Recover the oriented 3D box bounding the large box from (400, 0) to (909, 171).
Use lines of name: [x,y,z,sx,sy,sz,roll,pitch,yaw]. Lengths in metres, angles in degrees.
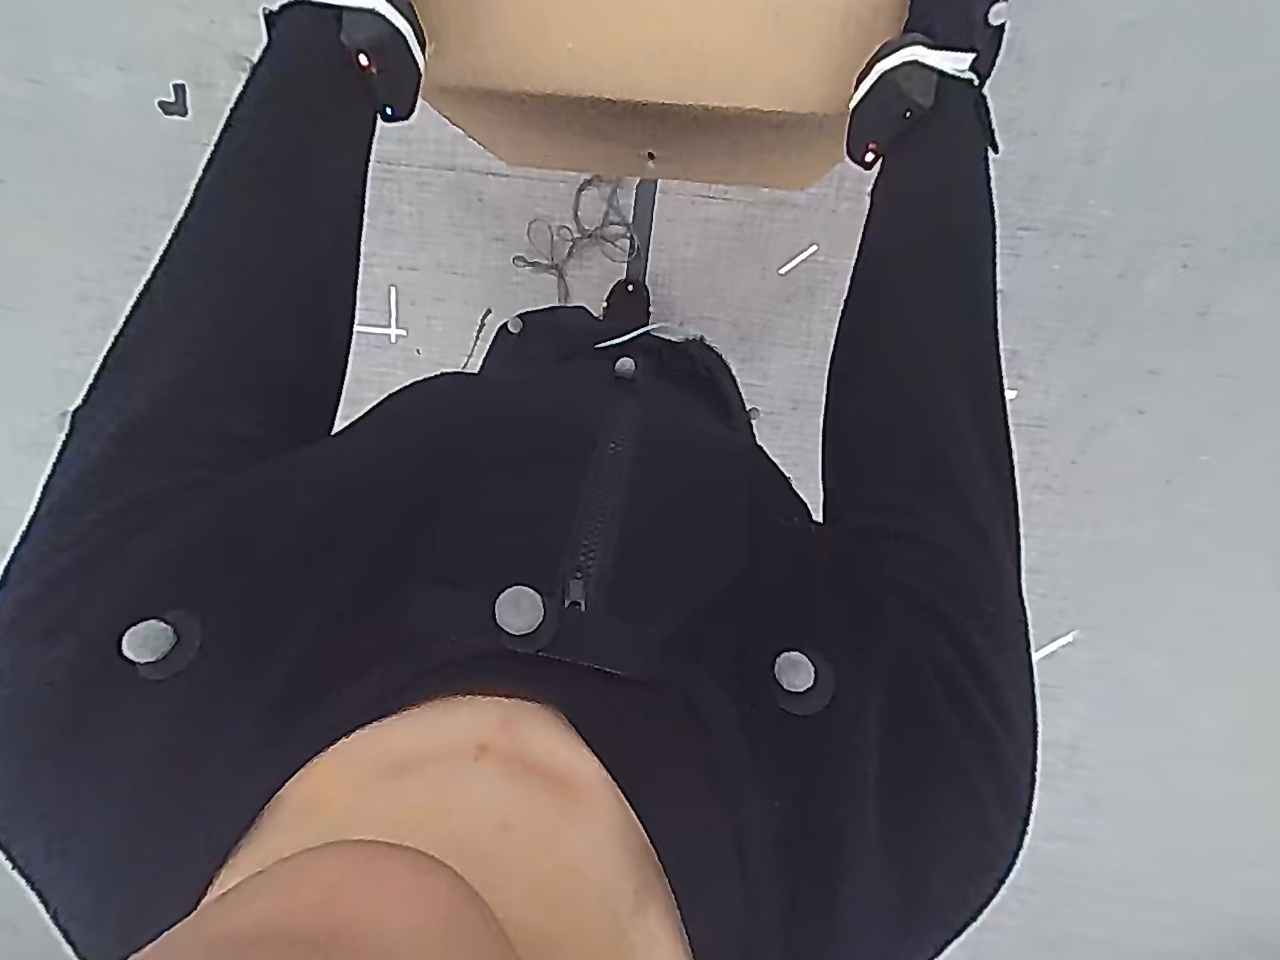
large box: [0.026,-0.514,0.528,0.408,0.320,0.320,6,108,2]
